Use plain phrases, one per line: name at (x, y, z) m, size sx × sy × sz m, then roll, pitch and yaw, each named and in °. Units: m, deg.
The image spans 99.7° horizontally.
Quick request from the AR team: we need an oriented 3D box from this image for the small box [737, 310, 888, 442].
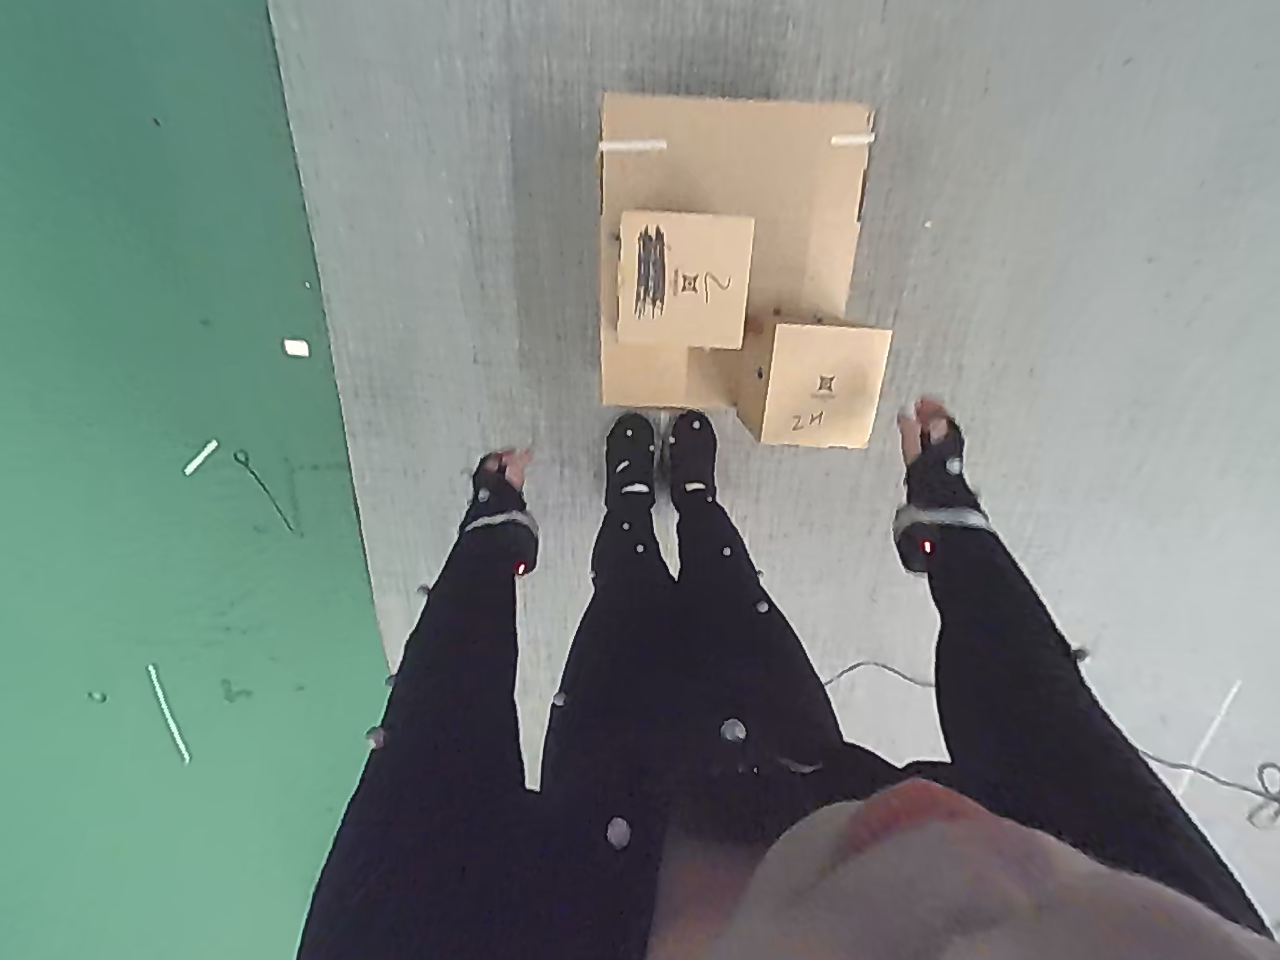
small box at (0.255, -0.169, 0.846) m, size 0.168 × 0.176 × 0.179 m, roll 2°, pitch 111°, yaw -3°
